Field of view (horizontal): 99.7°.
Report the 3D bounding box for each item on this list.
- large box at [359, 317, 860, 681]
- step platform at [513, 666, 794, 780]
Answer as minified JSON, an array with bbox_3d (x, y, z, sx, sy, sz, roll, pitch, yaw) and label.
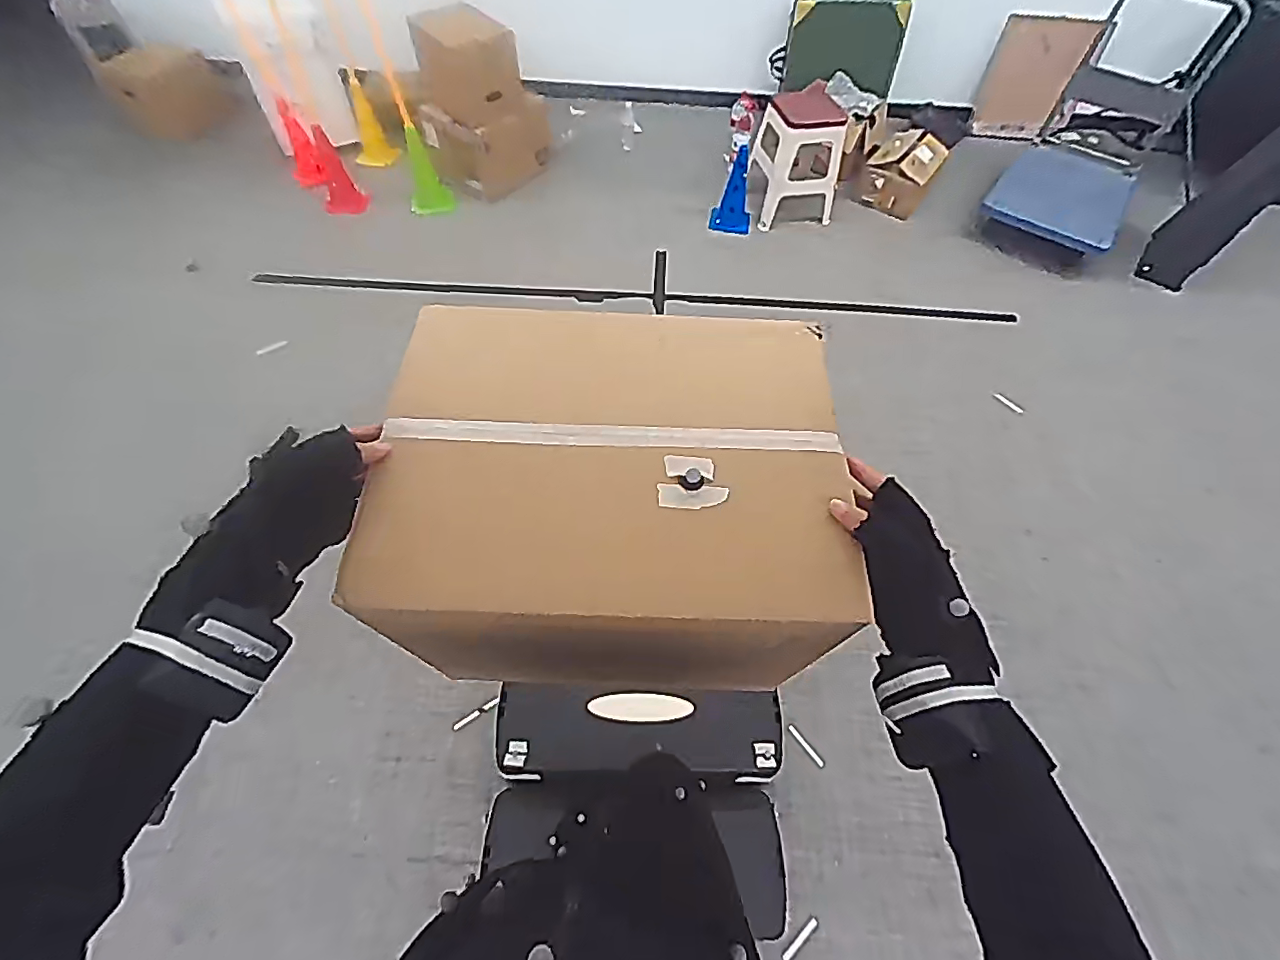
[{"bbox_3d":[-0.027,0.042,0.624,0.408,0.320,0.320,3,60,-1],"label":"large box"},{"bbox_3d":[0.032,0.581,1.359,0.684,0.204,0.286,2,56,-3],"label":"step platform"}]
